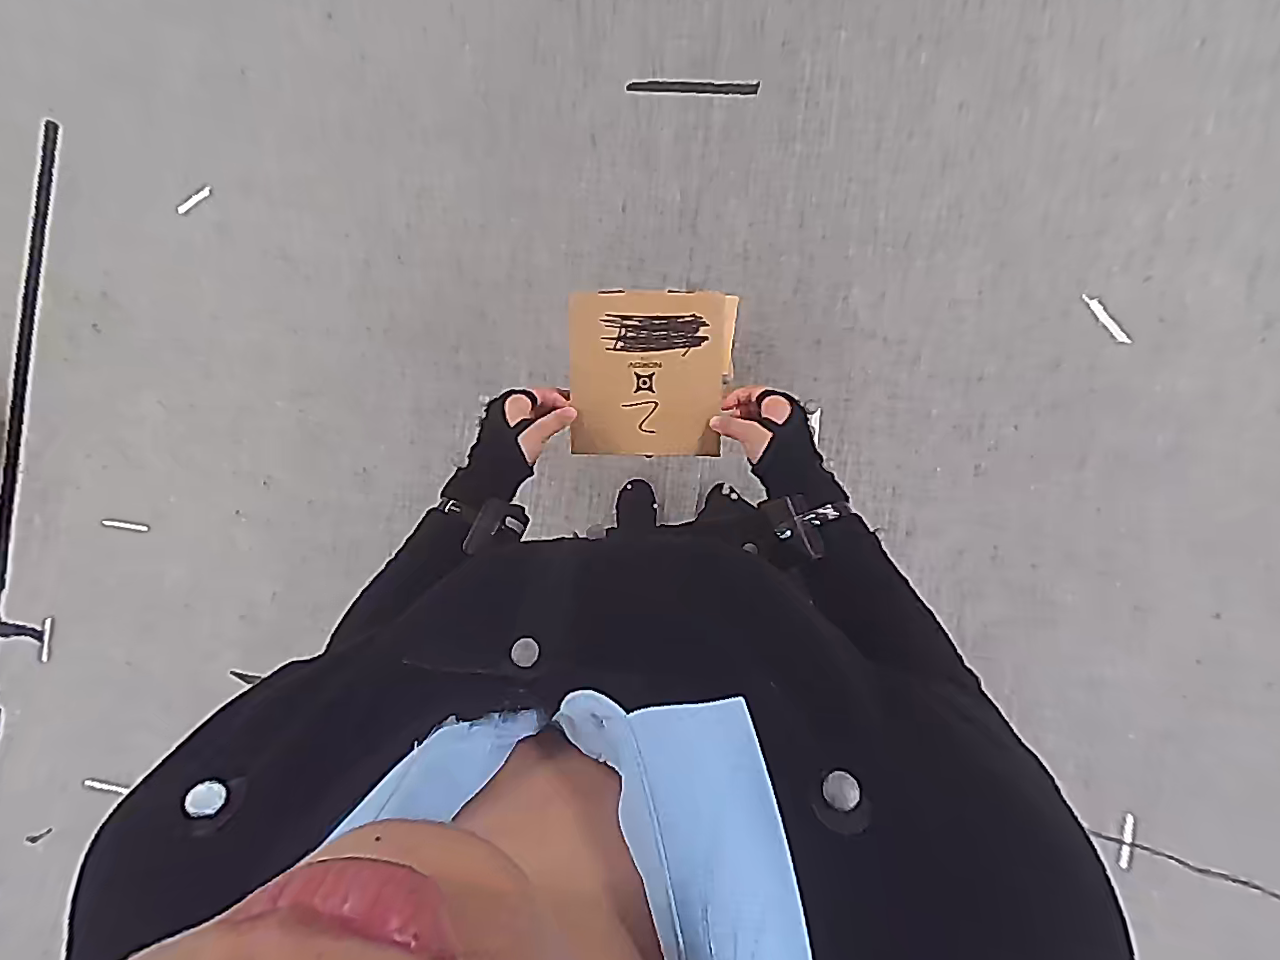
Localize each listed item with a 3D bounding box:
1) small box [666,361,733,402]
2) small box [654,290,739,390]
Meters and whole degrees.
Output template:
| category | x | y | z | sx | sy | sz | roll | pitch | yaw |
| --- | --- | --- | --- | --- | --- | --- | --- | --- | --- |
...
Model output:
| category | x | y | z | sx | sy | sz | roll | pitch | yaw |
| --- | --- | --- | --- | --- | --- | --- | --- | --- | --- |
| small box | 0.148 | -0.307 | 1.407 | 0.168 | 0.176 | 0.179 | -5 | 89 | 6 |
| small box | 0.127 | -0.316 | 1.245 | 0.168 | 0.176 | 0.179 | 8 | 91 | 5 |
